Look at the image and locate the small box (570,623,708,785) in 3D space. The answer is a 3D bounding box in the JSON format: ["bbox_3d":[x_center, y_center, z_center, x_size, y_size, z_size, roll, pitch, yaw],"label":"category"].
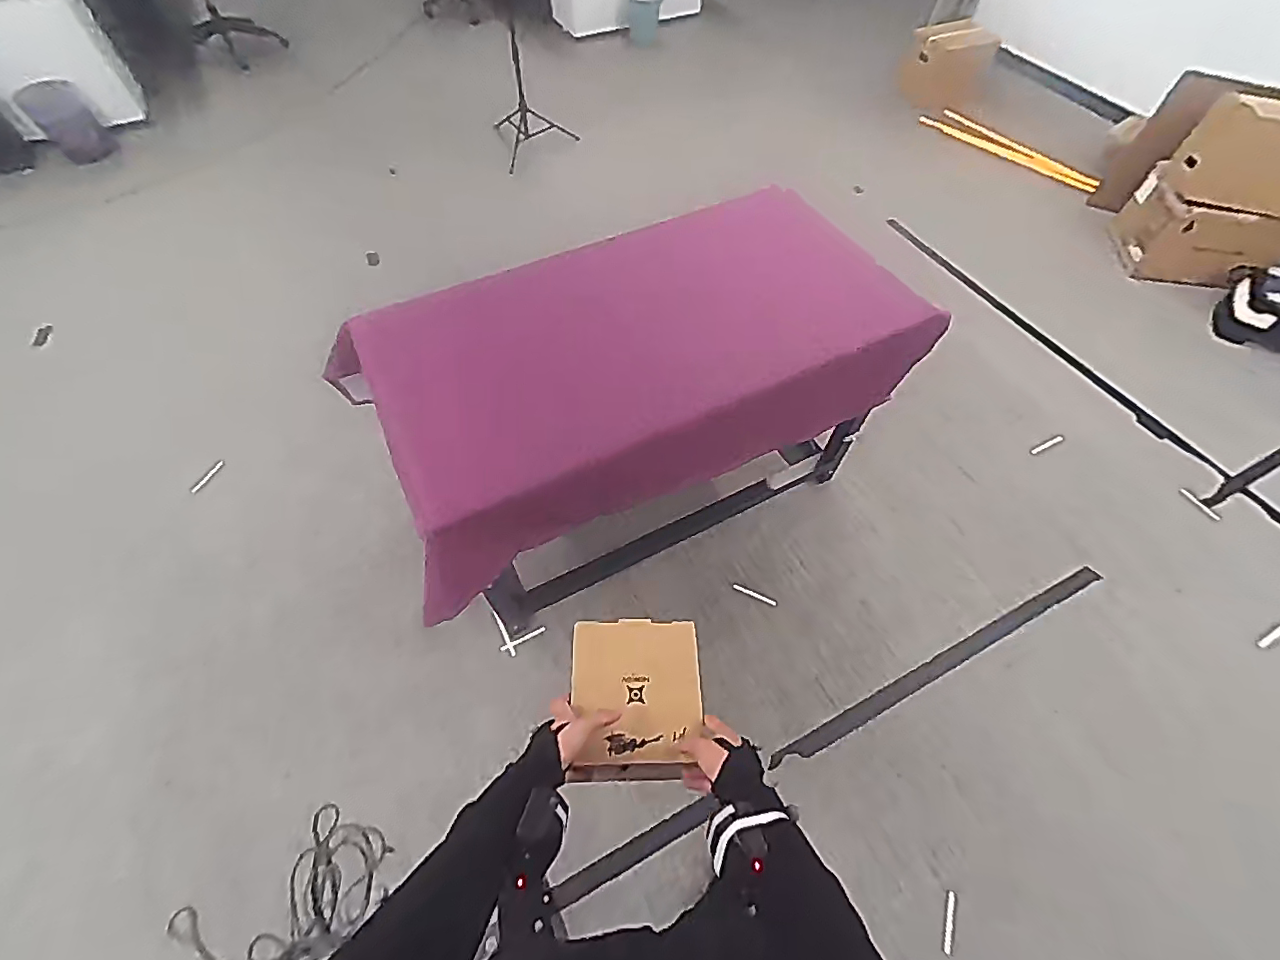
[{"bbox_3d":[-0.007,0.309,0.741,0.168,0.176,0.179,1,56,-4],"label":"small box"}]
